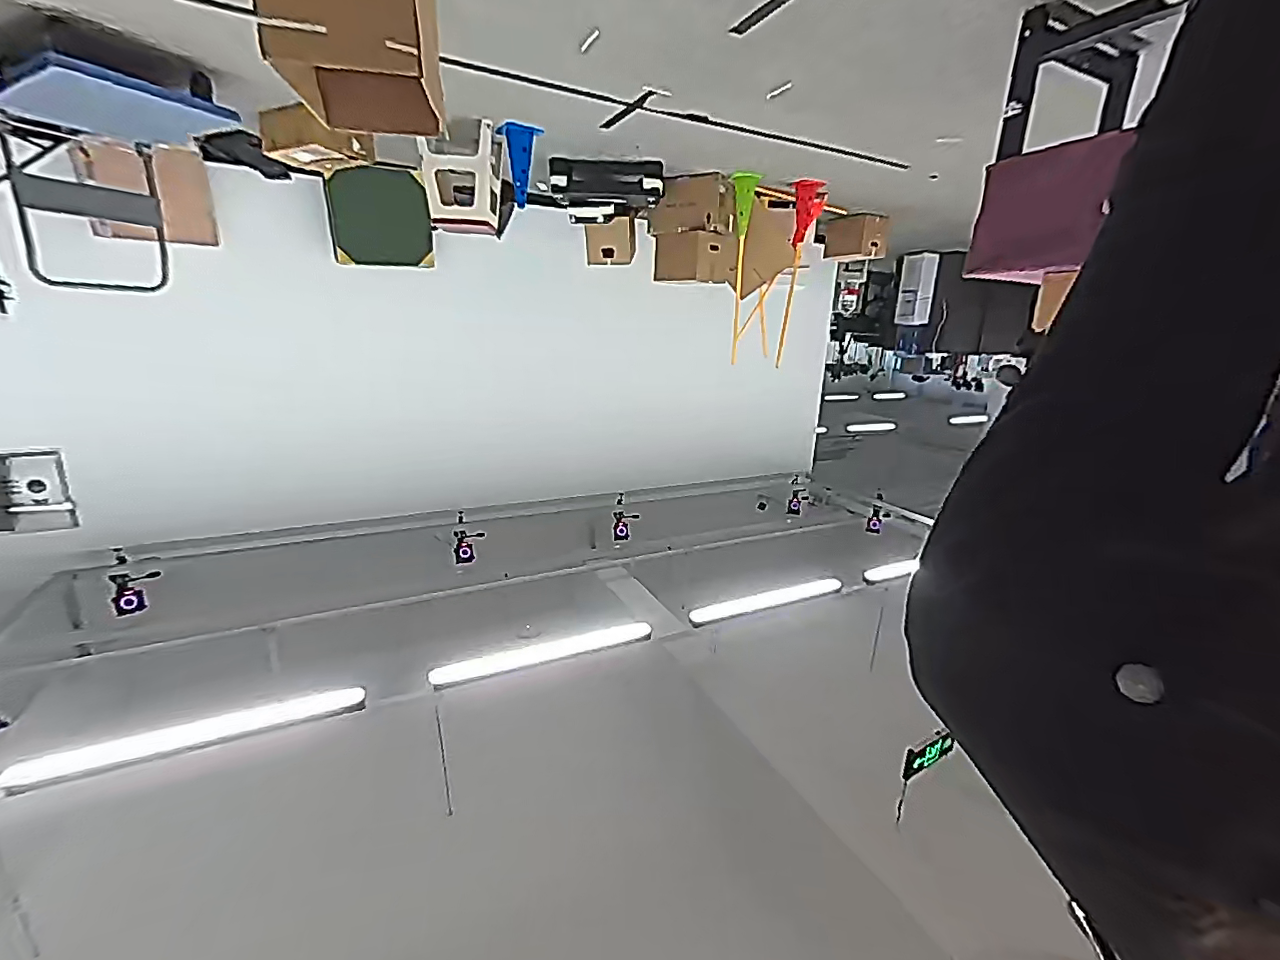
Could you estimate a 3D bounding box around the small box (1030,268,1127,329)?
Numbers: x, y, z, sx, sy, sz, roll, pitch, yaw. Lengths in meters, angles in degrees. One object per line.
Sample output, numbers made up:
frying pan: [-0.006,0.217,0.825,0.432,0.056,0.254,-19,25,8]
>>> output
small box: [1.346,-0.551,1.655,0.168,0.176,0.179,-7,-162,-28]
